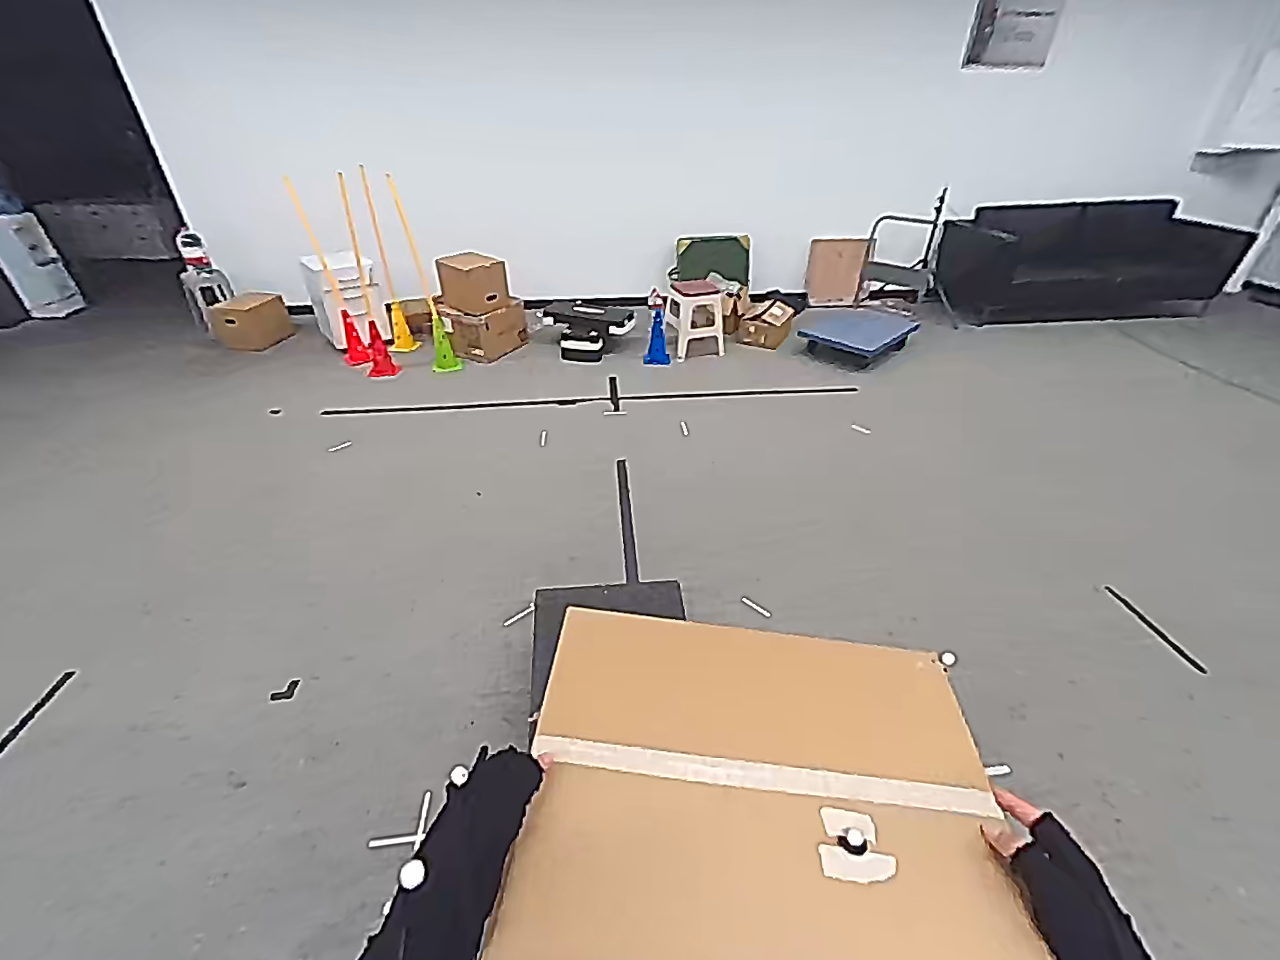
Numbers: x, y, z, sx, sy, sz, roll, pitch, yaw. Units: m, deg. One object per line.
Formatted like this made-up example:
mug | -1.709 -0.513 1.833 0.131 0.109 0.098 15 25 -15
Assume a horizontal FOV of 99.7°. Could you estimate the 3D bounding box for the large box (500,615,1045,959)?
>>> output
large box | 0.095 0.381 0.577 0.408 0.320 0.320 7 38 1
